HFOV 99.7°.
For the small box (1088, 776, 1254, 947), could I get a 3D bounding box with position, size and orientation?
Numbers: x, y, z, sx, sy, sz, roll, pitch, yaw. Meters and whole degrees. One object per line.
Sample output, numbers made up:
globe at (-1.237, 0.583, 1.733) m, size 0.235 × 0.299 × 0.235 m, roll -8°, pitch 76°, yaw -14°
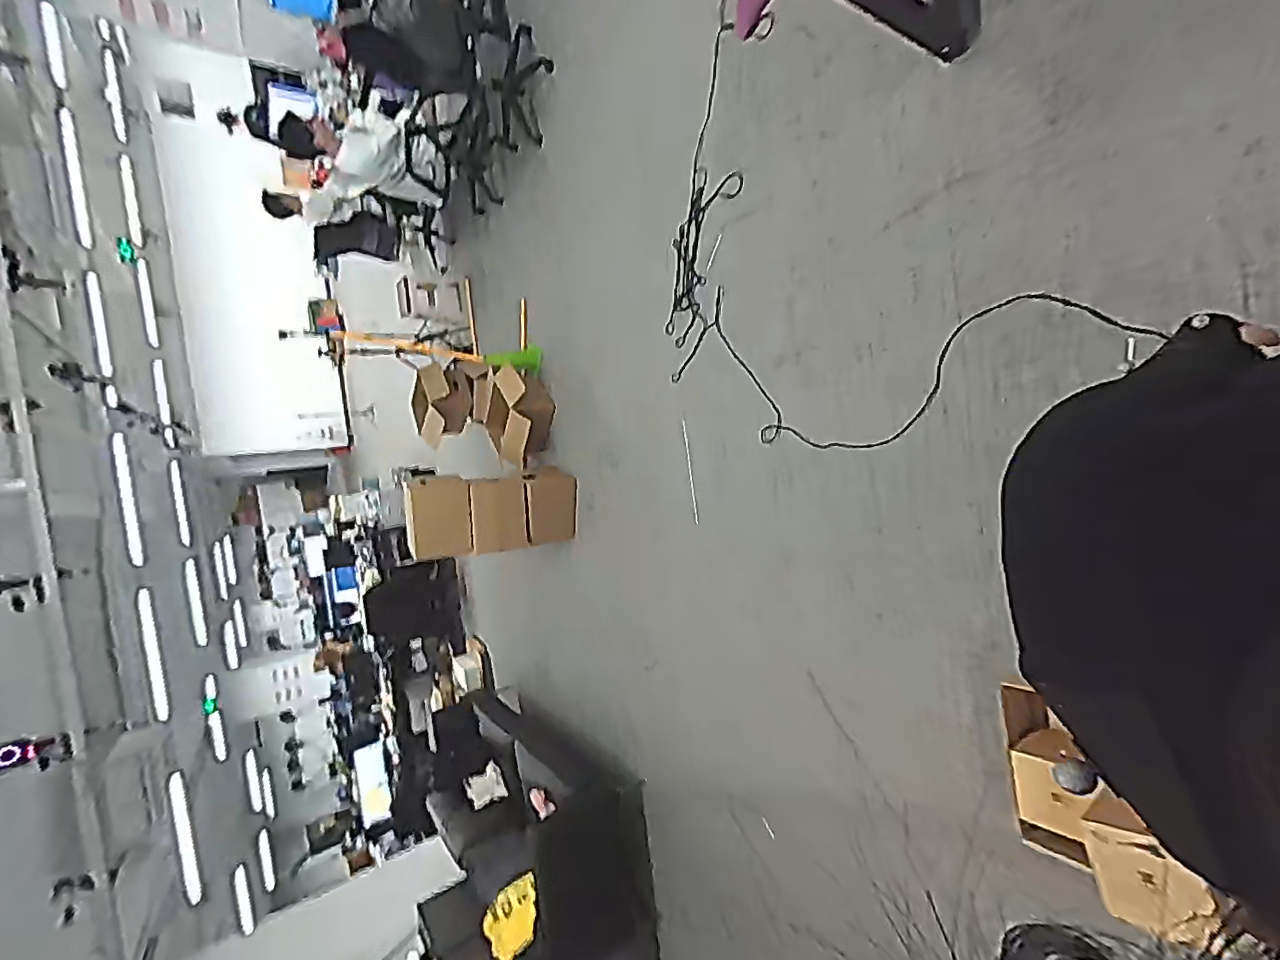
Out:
small box at (0.980, 0.686, 0.999) m, size 0.168 × 0.176 × 0.179 m, roll -23°, pitch 79°, yaw 55°
